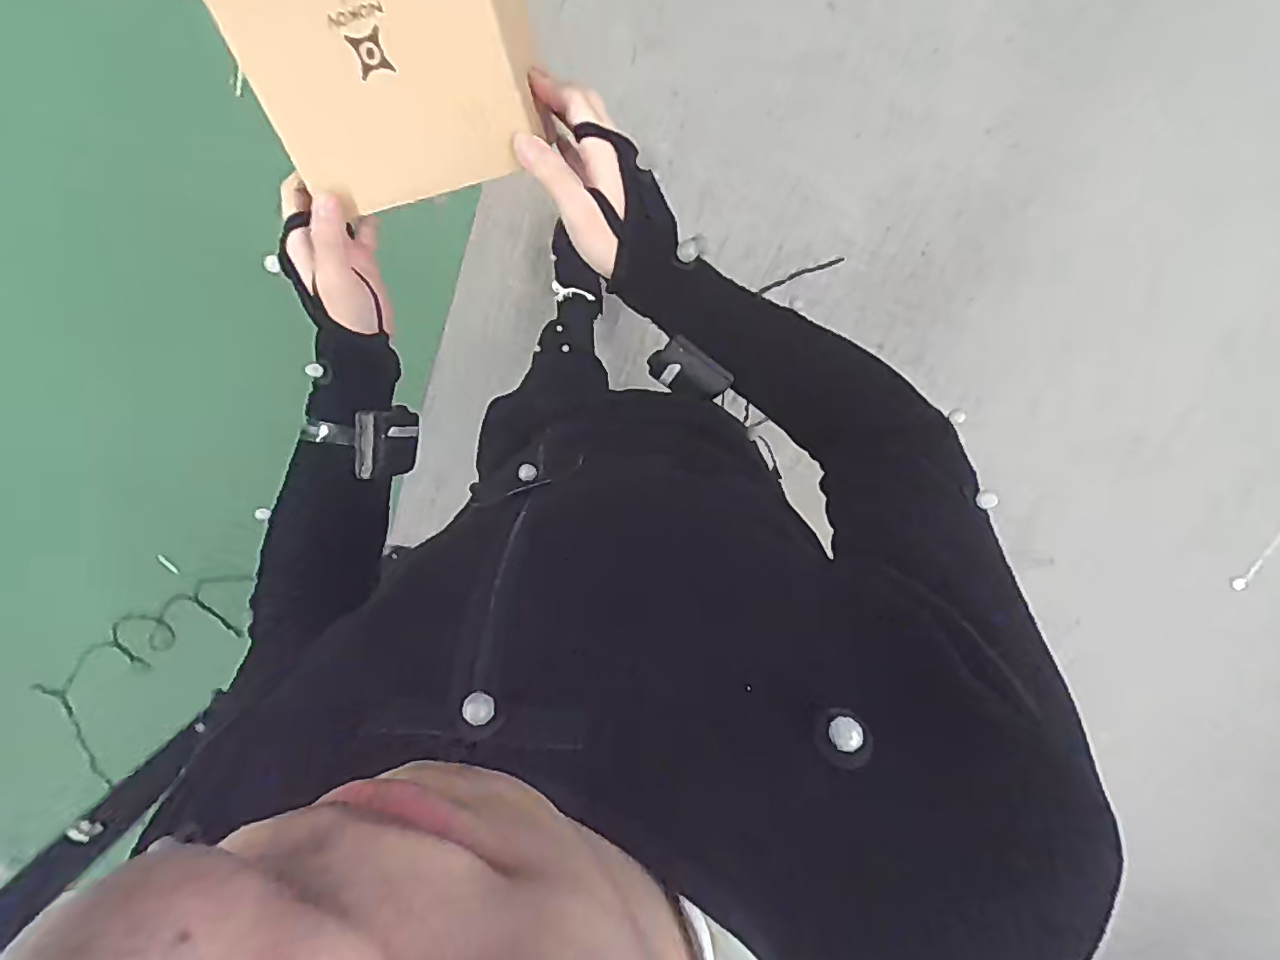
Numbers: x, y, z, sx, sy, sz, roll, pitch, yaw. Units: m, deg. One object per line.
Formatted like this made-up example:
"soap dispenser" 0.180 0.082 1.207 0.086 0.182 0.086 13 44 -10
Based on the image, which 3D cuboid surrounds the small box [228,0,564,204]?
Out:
"small box" -0.163 -0.332 0.397 0.168 0.176 0.179 -10 127 8
